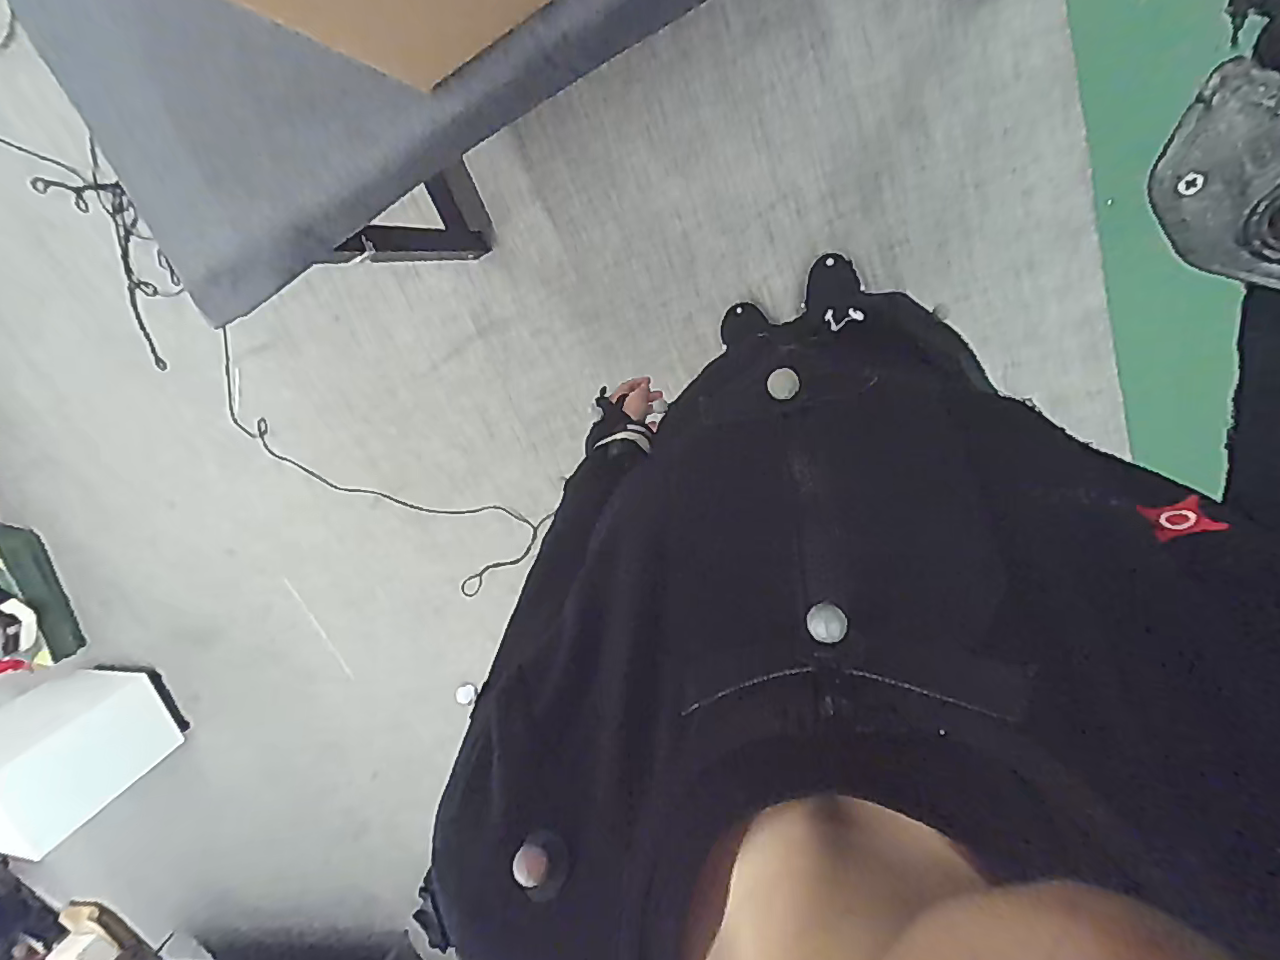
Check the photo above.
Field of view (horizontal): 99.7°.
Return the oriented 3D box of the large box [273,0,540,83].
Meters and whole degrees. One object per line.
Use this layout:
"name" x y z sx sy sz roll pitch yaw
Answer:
"large box" -0.142 -0.547 0.318 0.408 0.320 0.320 -19 105 20
